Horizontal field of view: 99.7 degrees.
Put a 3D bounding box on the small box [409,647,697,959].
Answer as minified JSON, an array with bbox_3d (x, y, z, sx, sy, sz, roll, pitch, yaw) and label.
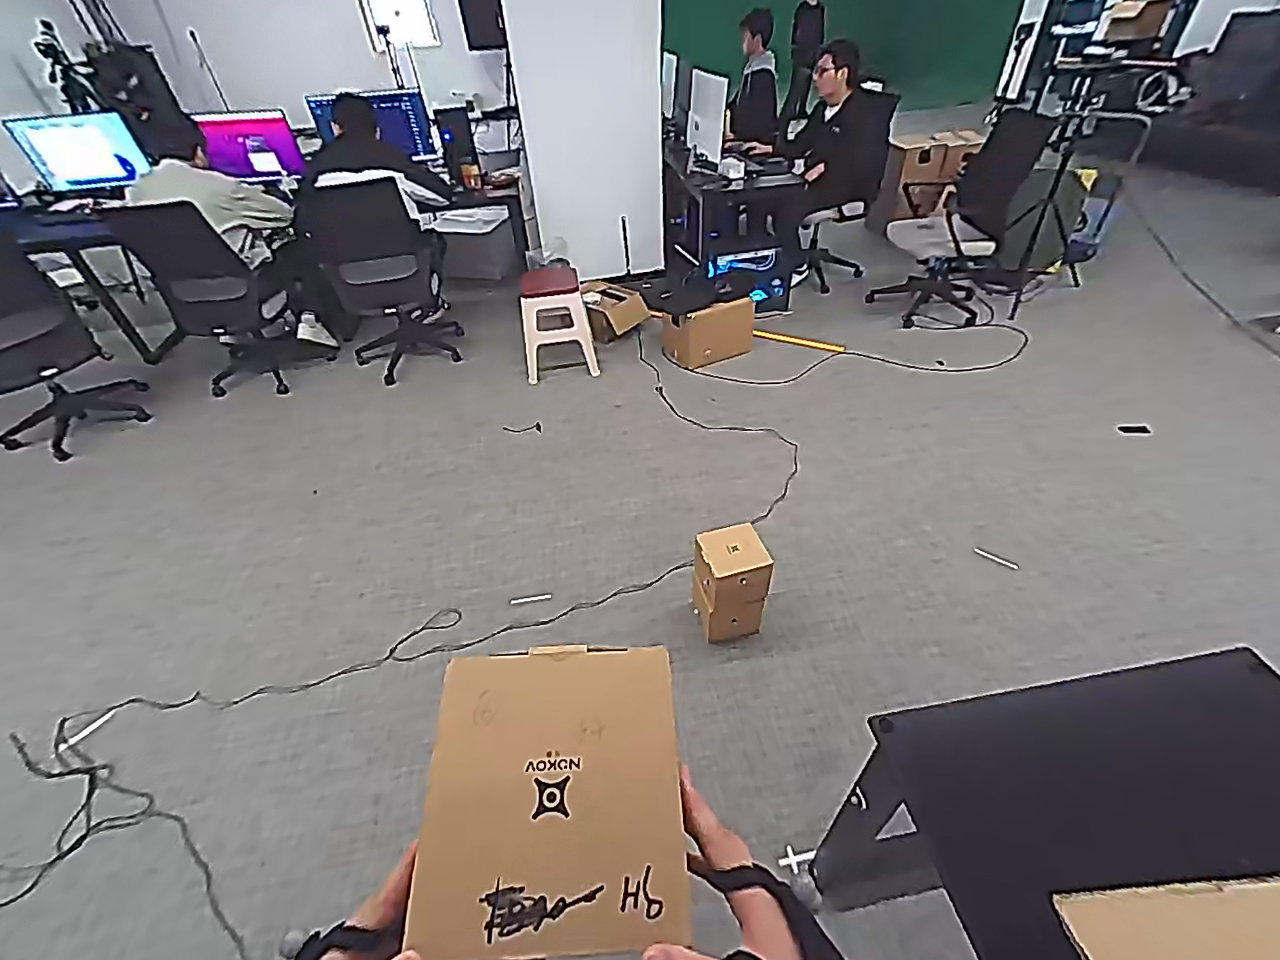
[{"bbox_3d":[-0.052,0.246,0.416,0.168,0.176,0.179,-3,53,-1],"label":"small box"}]

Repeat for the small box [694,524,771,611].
[{"bbox_3d":[0.266,0.261,1.596,0.179,0.176,0.168,-12,43,-11],"label":"small box"}]

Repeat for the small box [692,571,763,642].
[{"bbox_3d":[0.269,0.384,1.702,0.179,0.176,0.168,-12,42,-7],"label":"small box"}]
